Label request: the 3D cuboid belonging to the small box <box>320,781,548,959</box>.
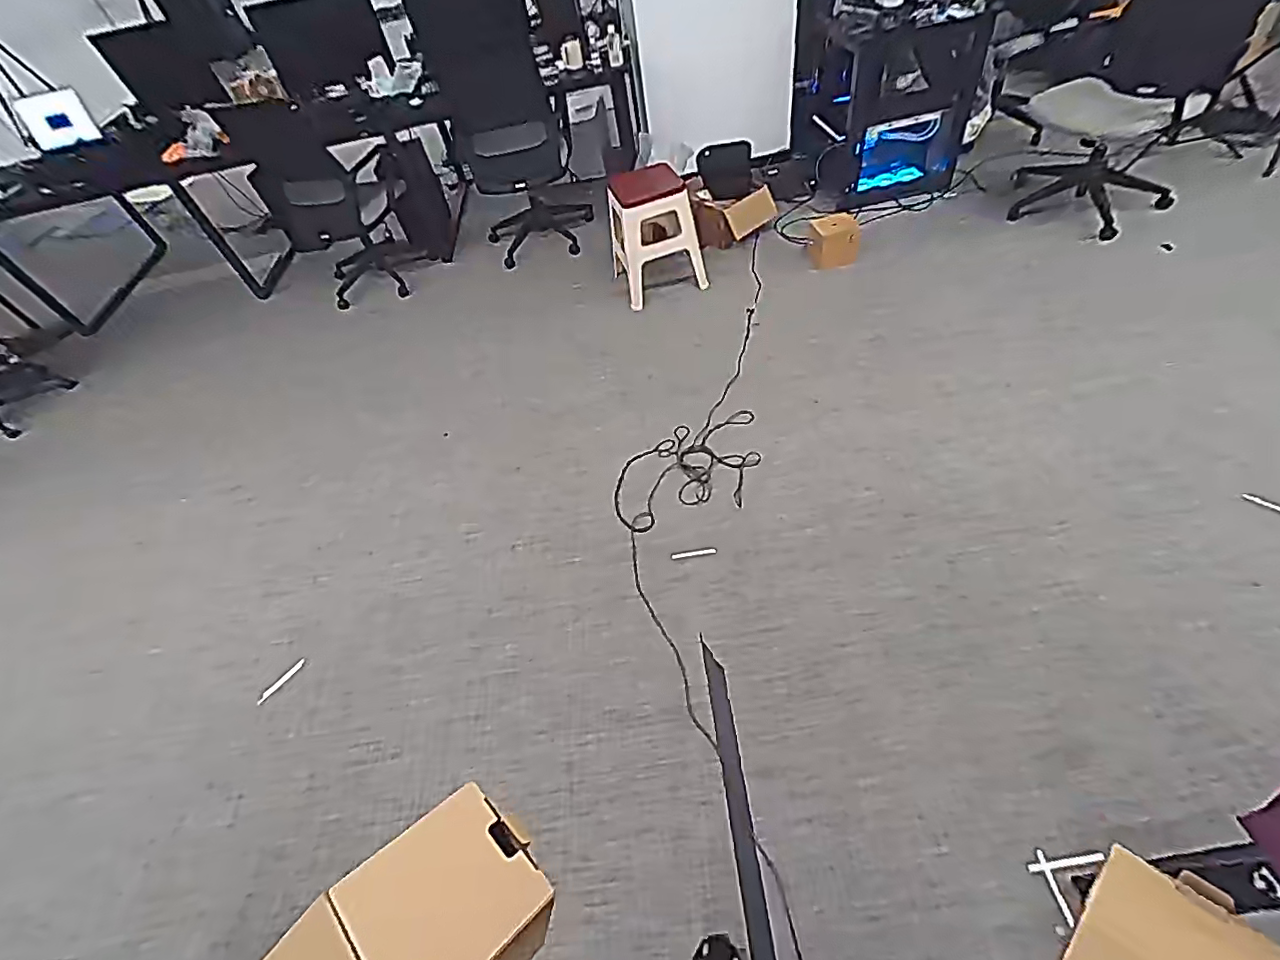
[{"bbox_3d":[-0.225,0.499,0.608,0.168,0.176,0.179,34,38,30],"label":"small box"}]
